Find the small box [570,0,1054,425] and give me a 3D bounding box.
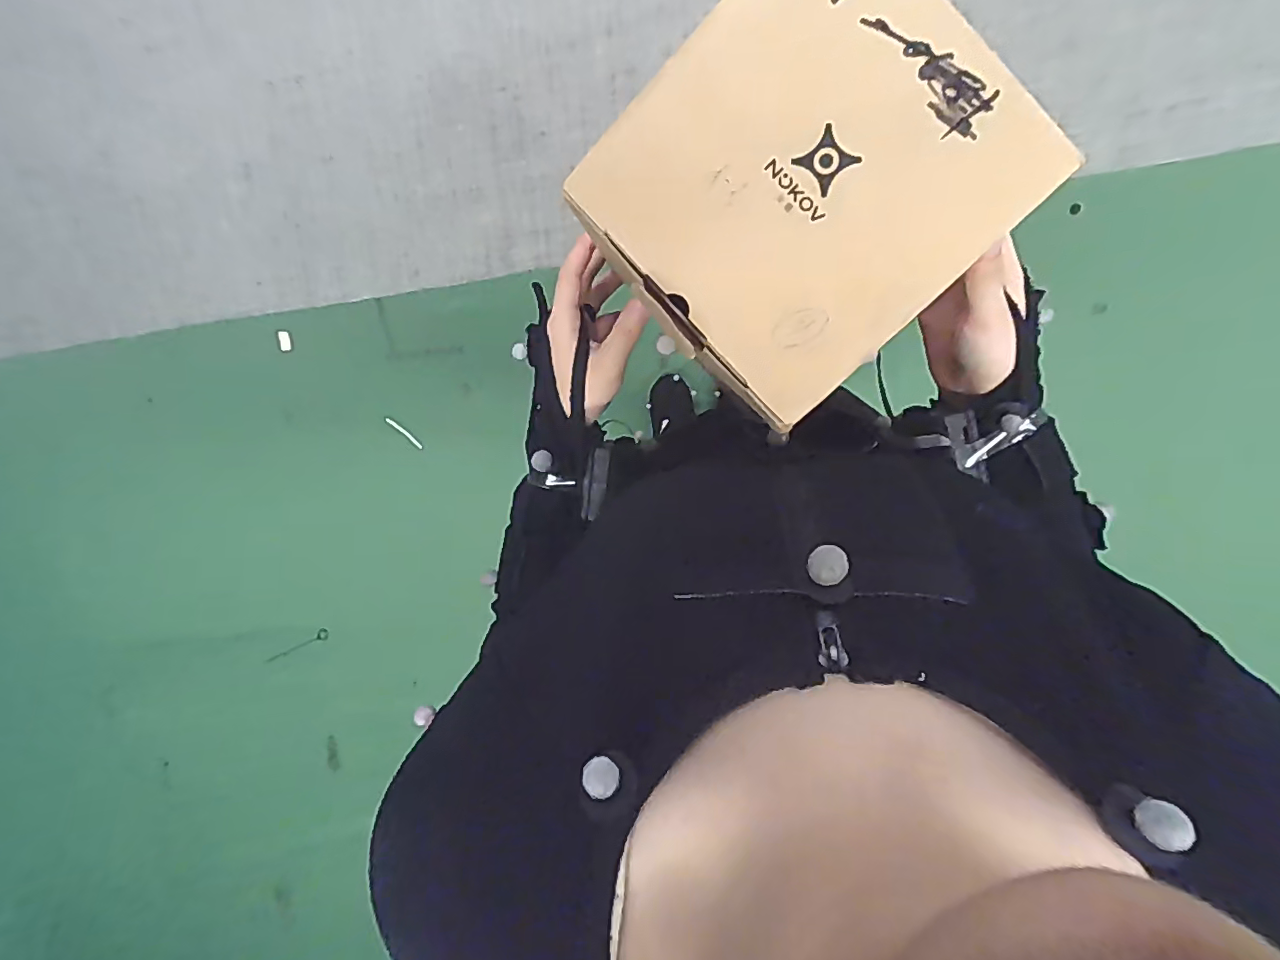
[{"bbox_3d":[0.088,-0.154,0.343,0.179,0.176,0.168,-43,92,11],"label":"small box"}]
